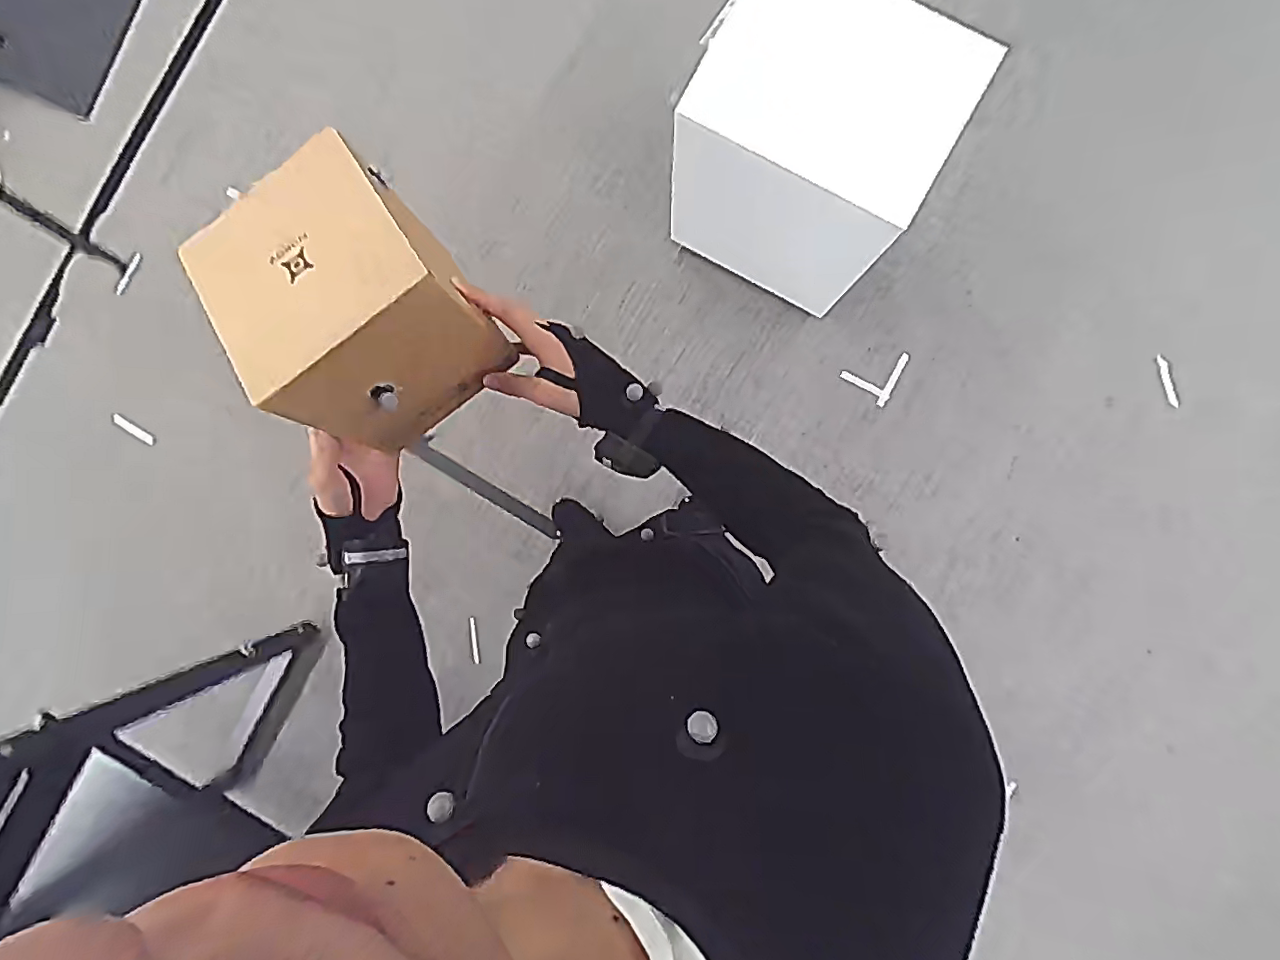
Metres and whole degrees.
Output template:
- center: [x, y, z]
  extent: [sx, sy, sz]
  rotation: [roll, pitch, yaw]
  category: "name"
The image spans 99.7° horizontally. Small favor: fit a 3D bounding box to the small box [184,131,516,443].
- center: [-0.243, -0.150, 0.490]
  extent: [0.168, 0.176, 0.179]
  rotation: [-36, 75, 3]
  category: "small box"
